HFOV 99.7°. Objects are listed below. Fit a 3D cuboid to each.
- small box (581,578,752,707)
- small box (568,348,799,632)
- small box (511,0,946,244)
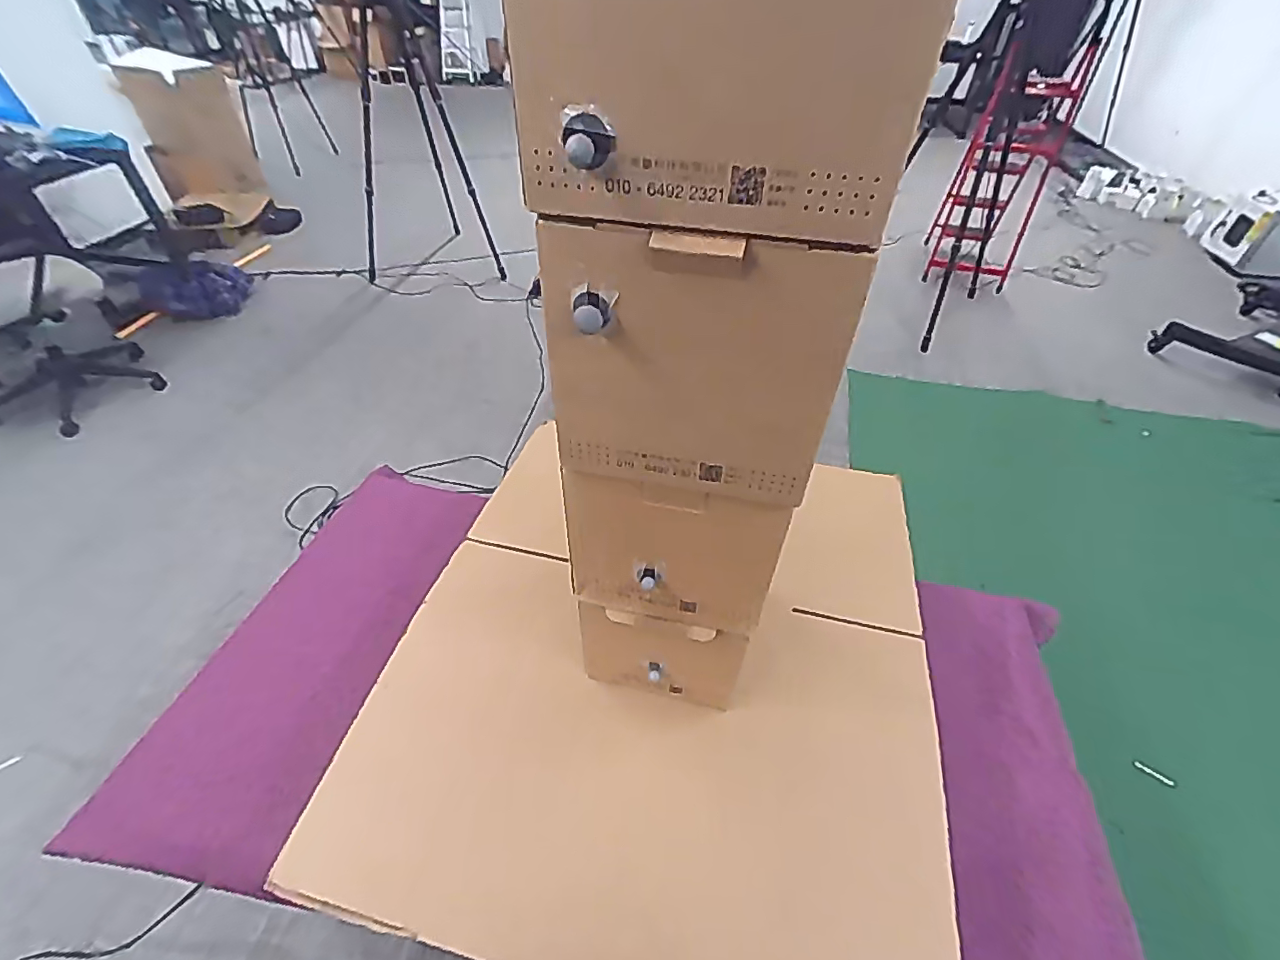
[{"bbox_3d":[0.040,0.119,0.607,0.168,0.176,0.179,10,45,10],"label":"small box"},{"bbox_3d":[0.041,0.006,0.489,0.168,0.176,0.179,10,45,8],"label":"small box"},{"bbox_3d":[0.046,-0.228,0.256,0.168,0.176,0.179,10,43,8],"label":"small box"}]
